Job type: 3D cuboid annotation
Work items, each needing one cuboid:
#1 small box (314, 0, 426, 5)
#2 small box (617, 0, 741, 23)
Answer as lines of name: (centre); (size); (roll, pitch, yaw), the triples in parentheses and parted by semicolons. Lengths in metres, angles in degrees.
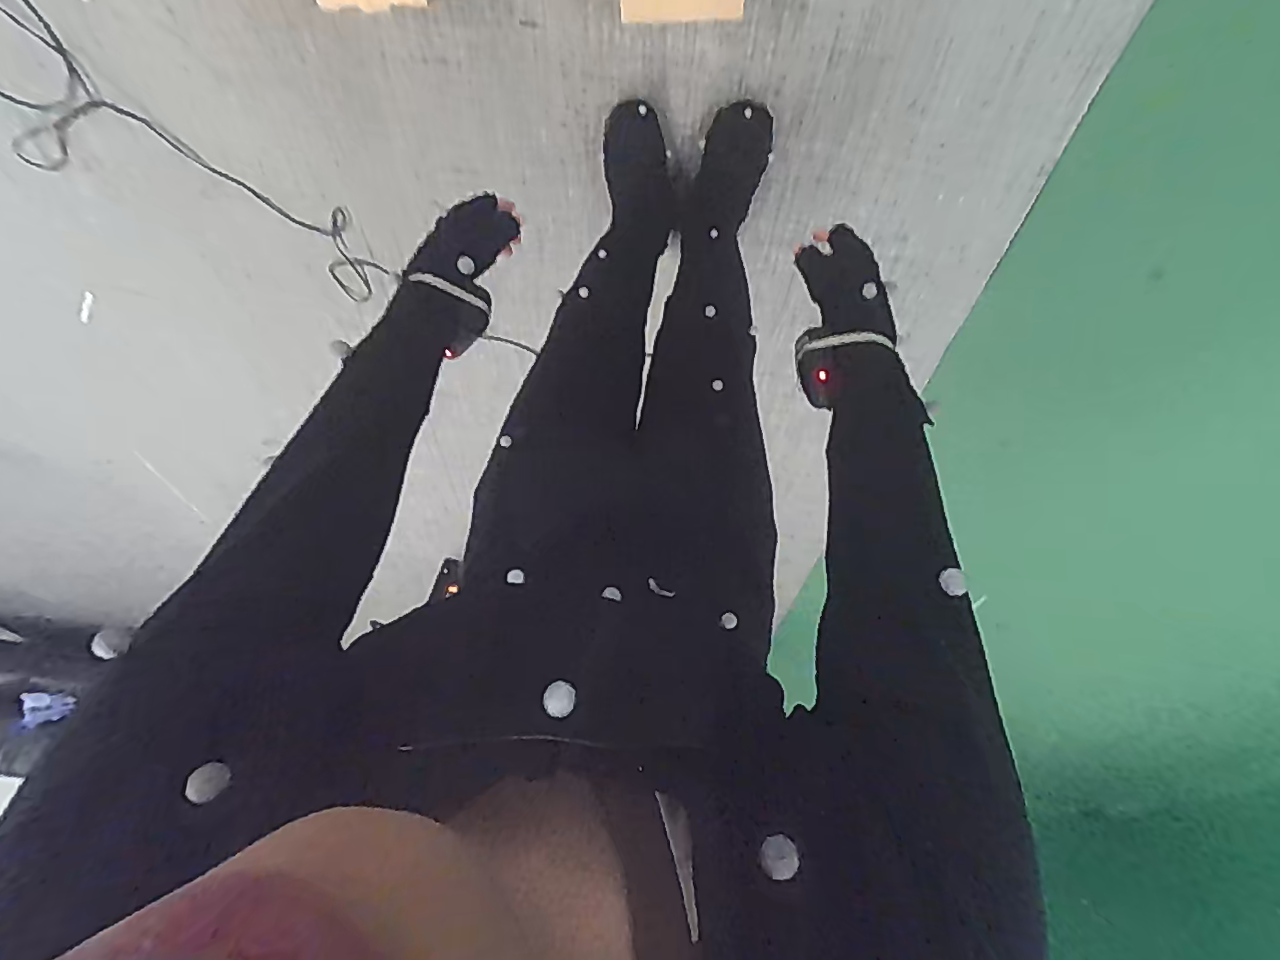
small box: (-0.367, -0.772, 0.726); (0.168, 0.176, 0.179); (4, 142, 6)
small box: (0.058, -0.728, 0.702); (0.168, 0.176, 0.179); (3, 142, 5)
